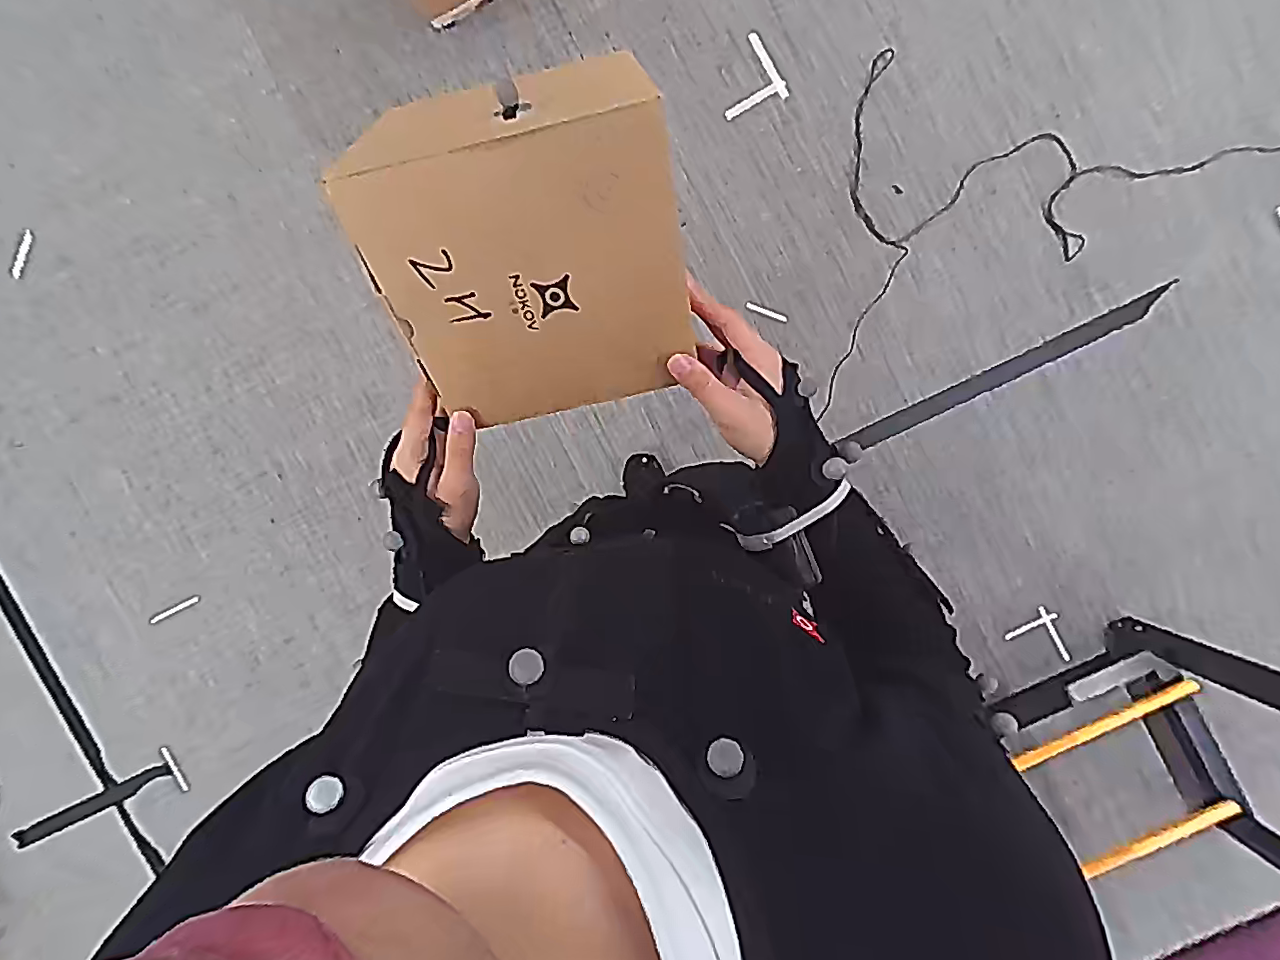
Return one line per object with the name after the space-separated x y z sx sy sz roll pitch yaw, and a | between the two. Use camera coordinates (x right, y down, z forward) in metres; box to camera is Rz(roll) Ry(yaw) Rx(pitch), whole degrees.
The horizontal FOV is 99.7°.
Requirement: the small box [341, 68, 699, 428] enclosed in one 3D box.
-0.066 -0.165 0.382 0.179 0.176 0.168 -12 134 2 | small box
